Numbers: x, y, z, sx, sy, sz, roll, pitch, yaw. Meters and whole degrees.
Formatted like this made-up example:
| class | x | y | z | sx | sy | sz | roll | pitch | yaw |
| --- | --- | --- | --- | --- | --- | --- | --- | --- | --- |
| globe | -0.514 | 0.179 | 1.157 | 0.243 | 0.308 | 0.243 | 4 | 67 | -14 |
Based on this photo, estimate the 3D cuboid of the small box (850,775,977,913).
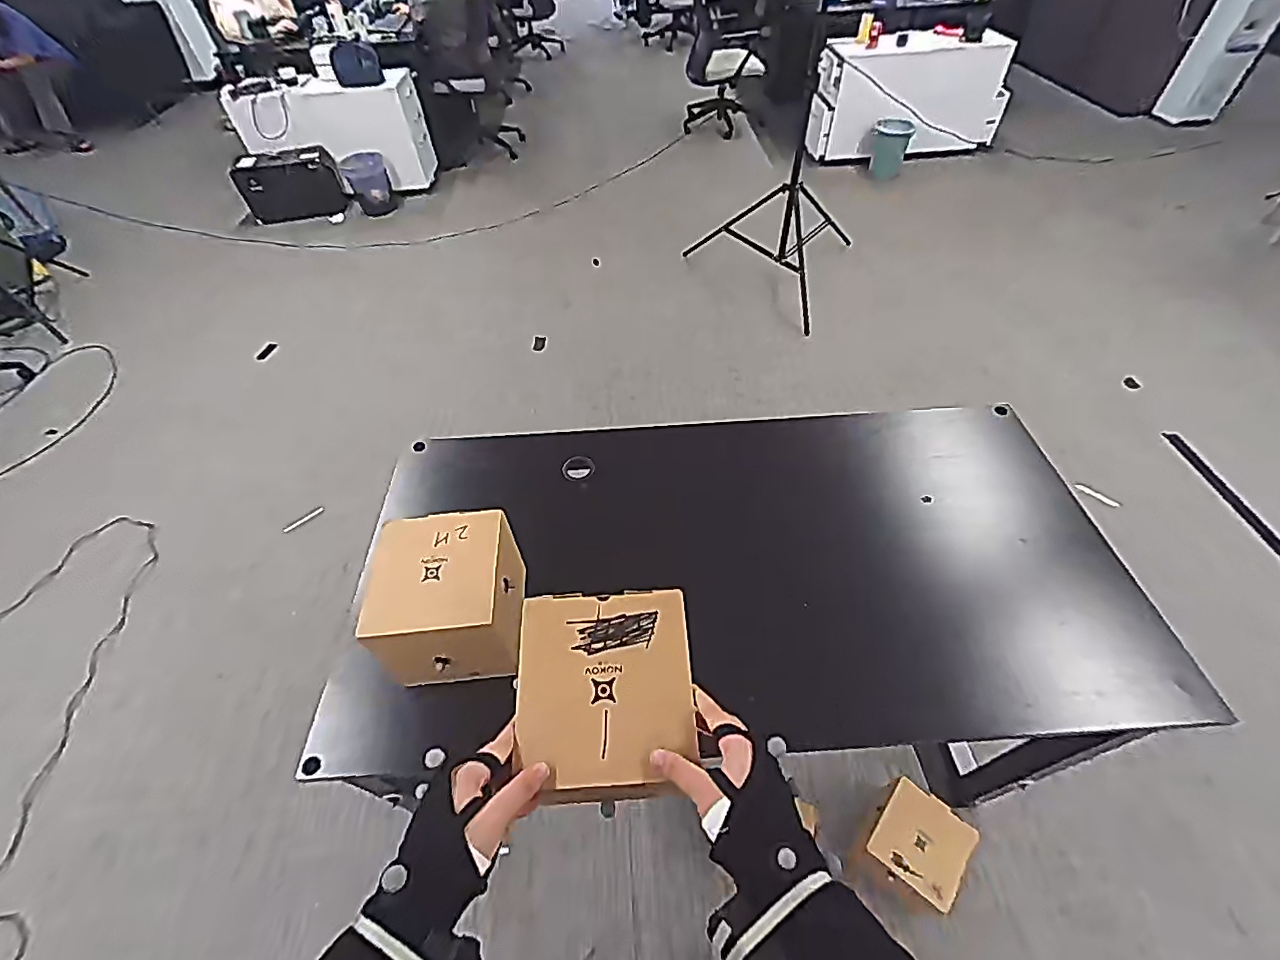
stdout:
| class | x | y | z | sx | sy | sz | roll | pitch | yaw |
| --- | --- | --- | --- | --- | --- | --- | --- | --- | --- |
| small box | 0.574 | 0.776 | 1.154 | 0.168 | 0.176 | 0.179 | 32 | 59 | 26 |

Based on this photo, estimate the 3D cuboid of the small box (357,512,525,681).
| class | x | y | z | sx | sy | sz | roll | pitch | yaw |
| --- | --- | --- | --- | --- | --- | --- | --- | --- | --- |
| small box | -0.261 | 0.170 | 0.759 | 0.168 | 0.176 | 0.179 | -6 | 50 | -2 |

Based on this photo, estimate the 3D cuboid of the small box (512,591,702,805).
| class | x | y | z | sx | sy | sz | roll | pitch | yaw |
| --- | --- | --- | --- | --- | --- | --- | --- | --- | --- |
| small box | -0.032 | 0.234 | 0.574 | 0.168 | 0.176 | 0.179 | -3 | 56 | -1 |

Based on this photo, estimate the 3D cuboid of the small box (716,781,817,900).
| class | x | y | z | sx | sy | sz | roll | pitch | yaw |
| --- | --- | --- | --- | --- | --- | --- | --- | --- | --- |
| small box | 0.271 | 0.782 | 1.171 | 0.179 | 0.176 | 0.168 | 12 | 51 | 14 |
